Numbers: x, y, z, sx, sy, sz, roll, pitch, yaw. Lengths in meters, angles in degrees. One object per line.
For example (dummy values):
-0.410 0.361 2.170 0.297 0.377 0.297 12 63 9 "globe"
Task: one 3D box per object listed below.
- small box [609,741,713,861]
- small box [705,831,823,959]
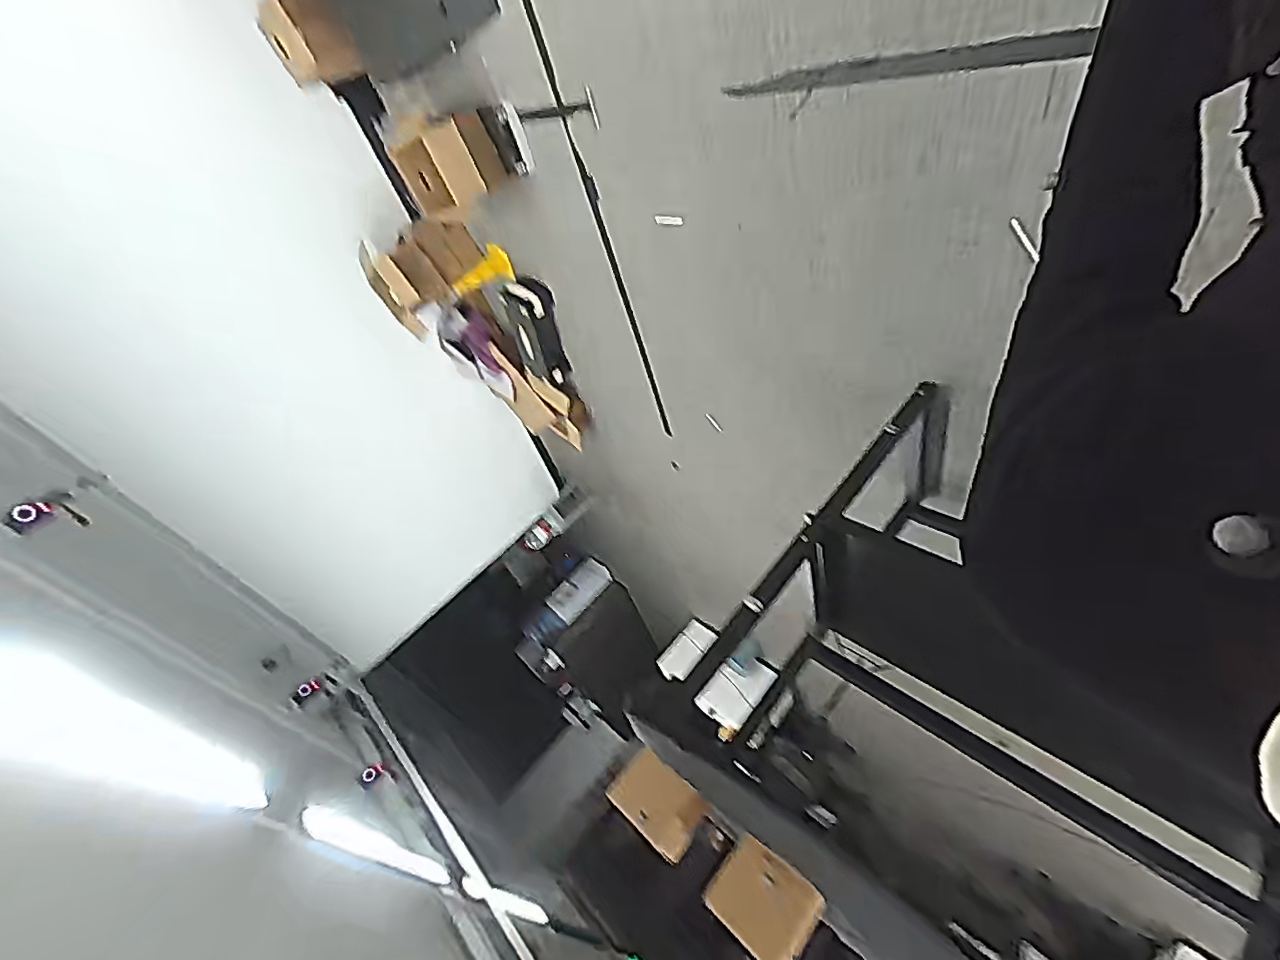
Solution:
0.059 0.780 1.322 0.168 0.176 0.179 26 151 38 "small box"
0.265 0.881 1.130 0.168 0.176 0.179 25 151 40 "small box"
